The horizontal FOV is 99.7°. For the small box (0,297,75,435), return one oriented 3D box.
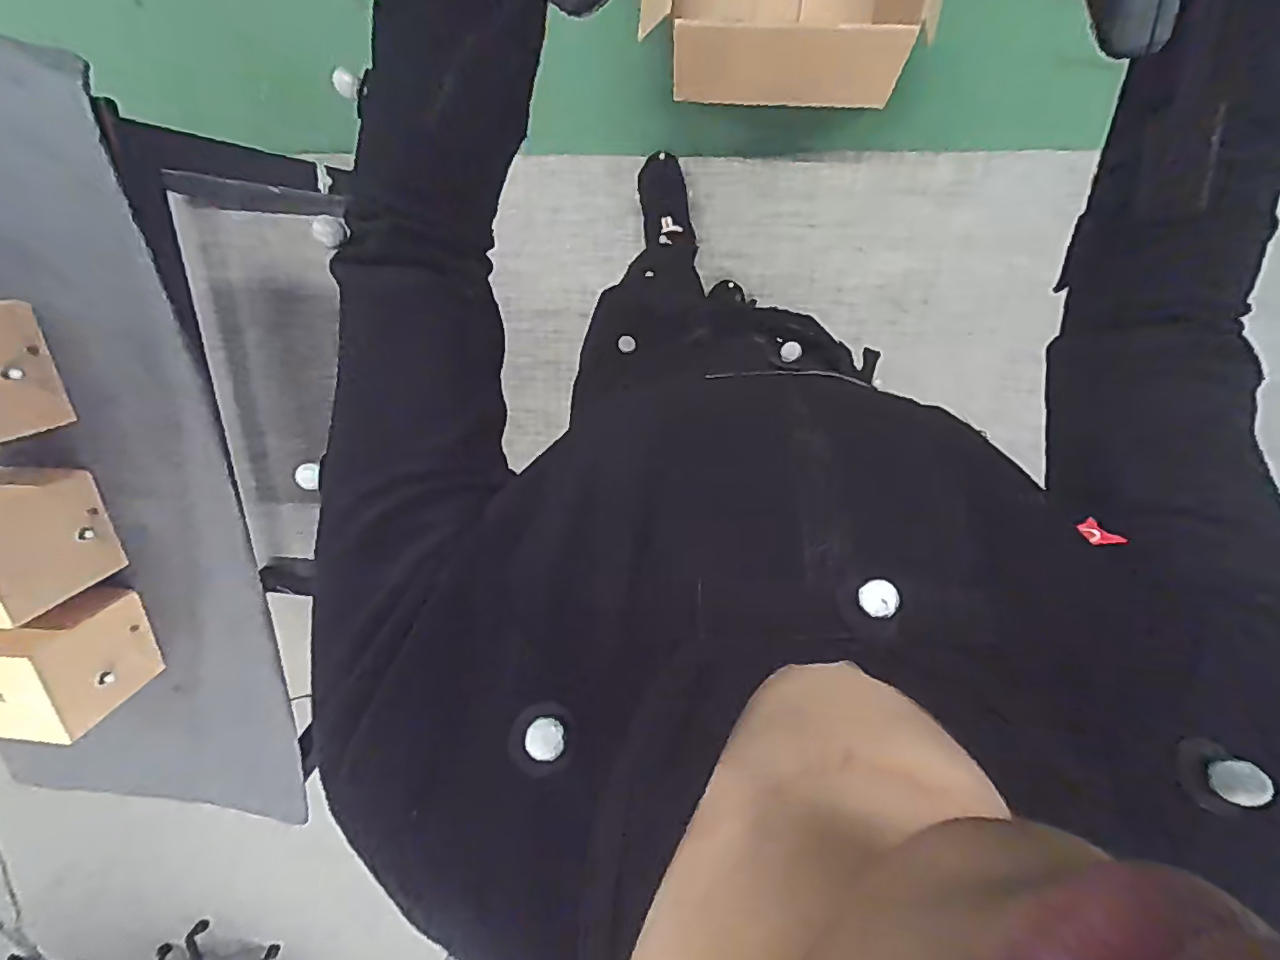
[{"bbox_3d":[-0.890,-0.139,0.672,0.179,0.176,0.168,3,113,3],"label":"small box"}]
